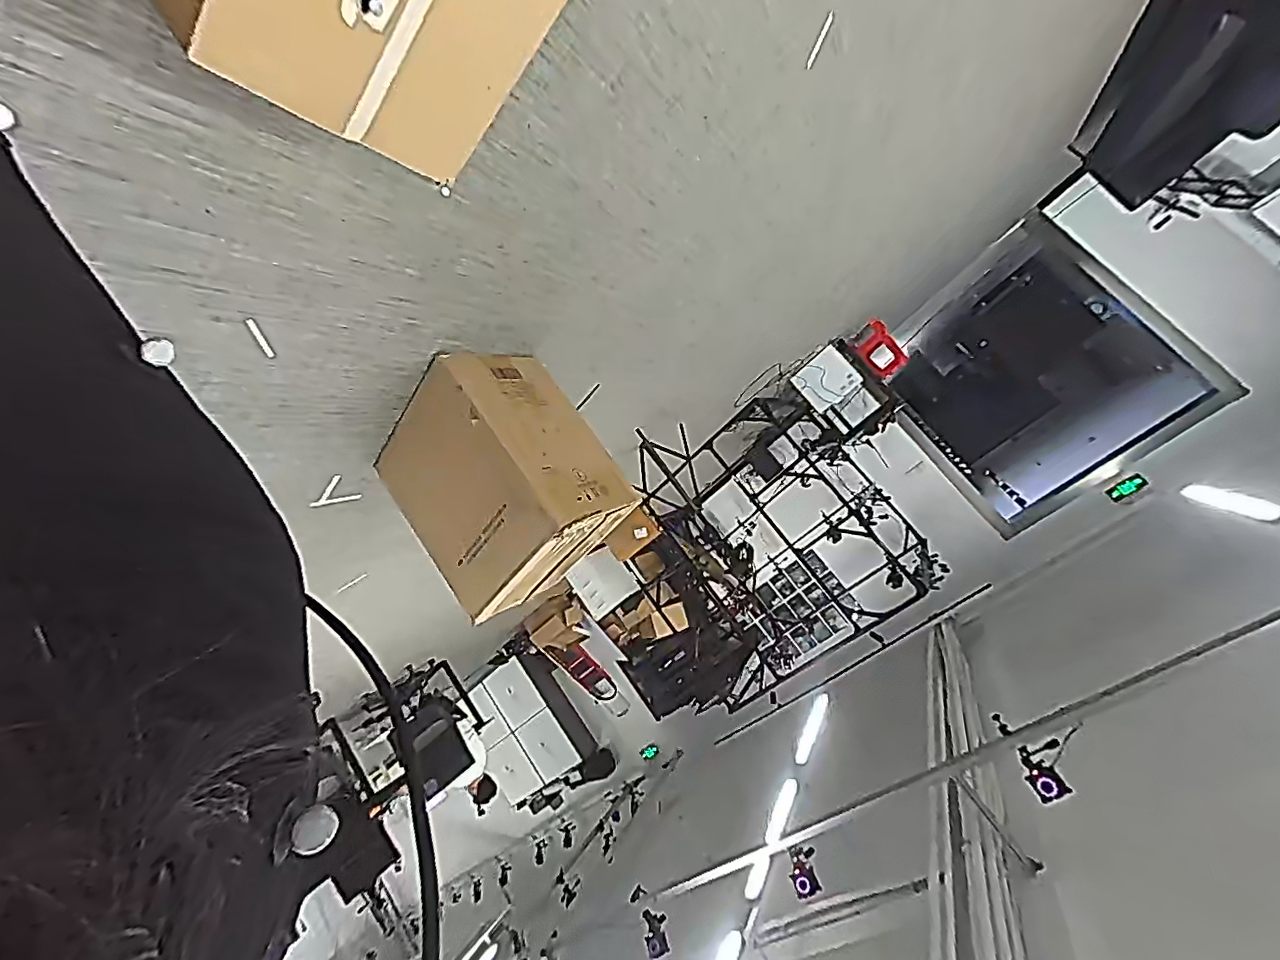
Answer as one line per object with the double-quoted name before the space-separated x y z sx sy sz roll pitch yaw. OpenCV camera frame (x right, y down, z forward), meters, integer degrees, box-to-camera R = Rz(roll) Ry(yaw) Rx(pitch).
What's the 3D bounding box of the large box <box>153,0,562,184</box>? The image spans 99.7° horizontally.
"large box" -0.293 -0.632 0.566 0.408 0.320 0.320 -42 167 24
